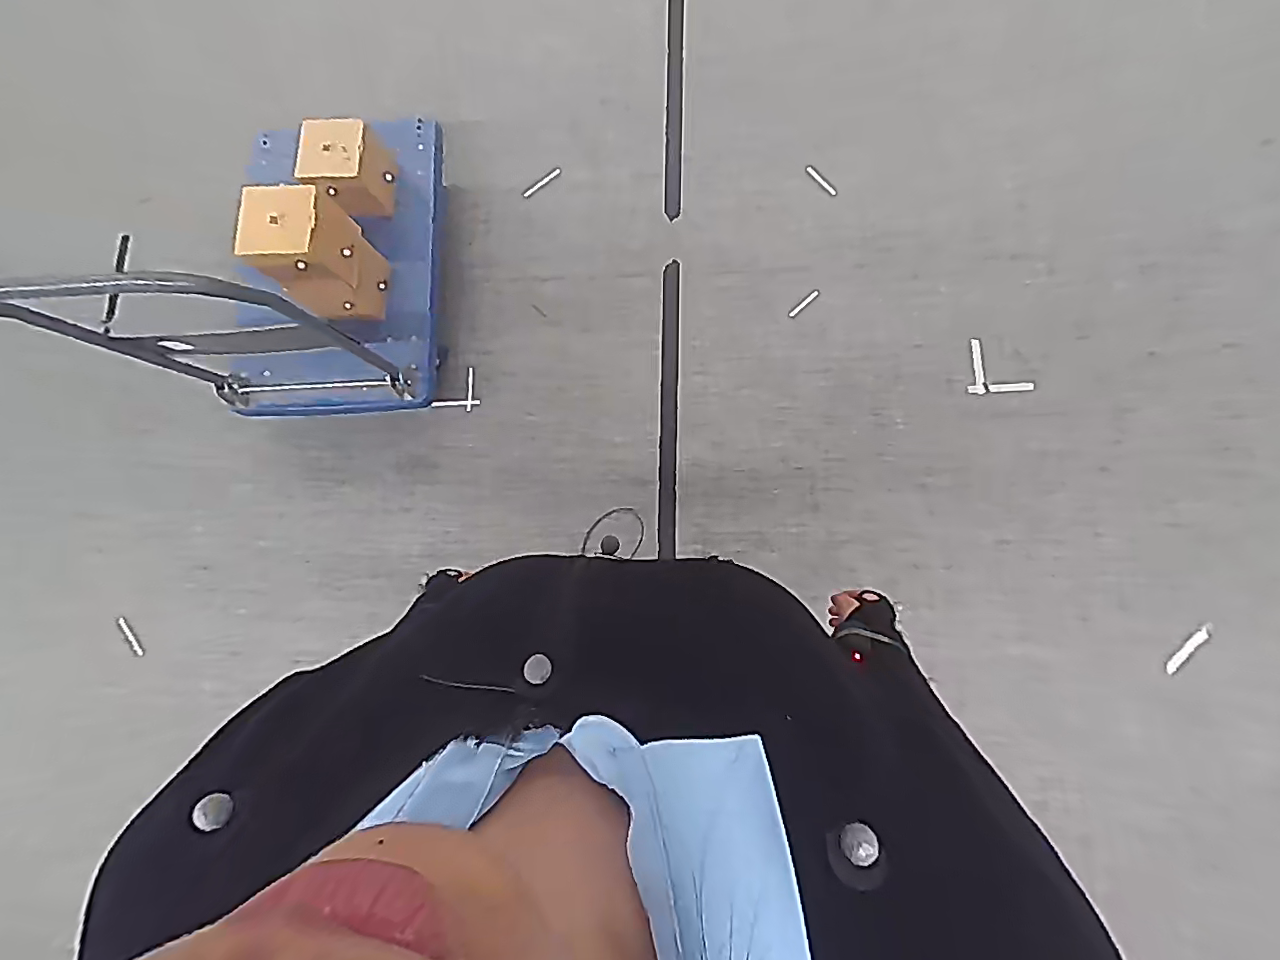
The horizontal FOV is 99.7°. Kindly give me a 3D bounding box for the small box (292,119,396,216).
[{"bbox_3d":[-0.792,-0.836,1.459,0.179,0.176,0.168,2,83,5],"label":"small box"}]

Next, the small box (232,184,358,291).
[{"bbox_3d":[-0.791,-0.554,1.254,0.179,0.176,0.168,0,82,4],"label":"small box"}]
